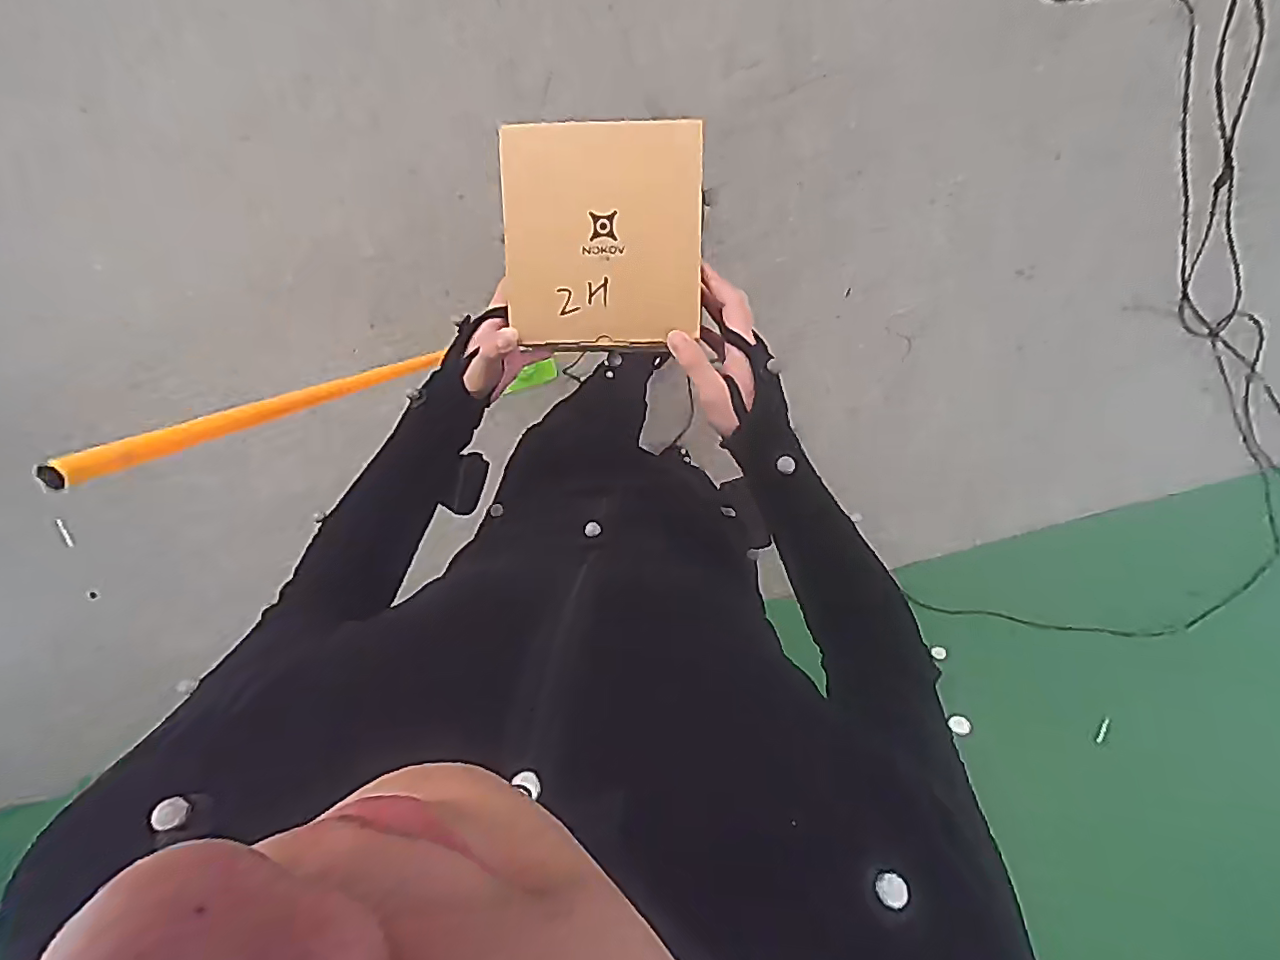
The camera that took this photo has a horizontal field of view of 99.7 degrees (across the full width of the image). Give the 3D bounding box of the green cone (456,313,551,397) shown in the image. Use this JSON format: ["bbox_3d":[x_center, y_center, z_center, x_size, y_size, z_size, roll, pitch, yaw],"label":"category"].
[{"bbox_3d":[-0.380,-0.317,1.369,0.202,0.368,0.200,-16,100,7],"label":"green cone"}]
